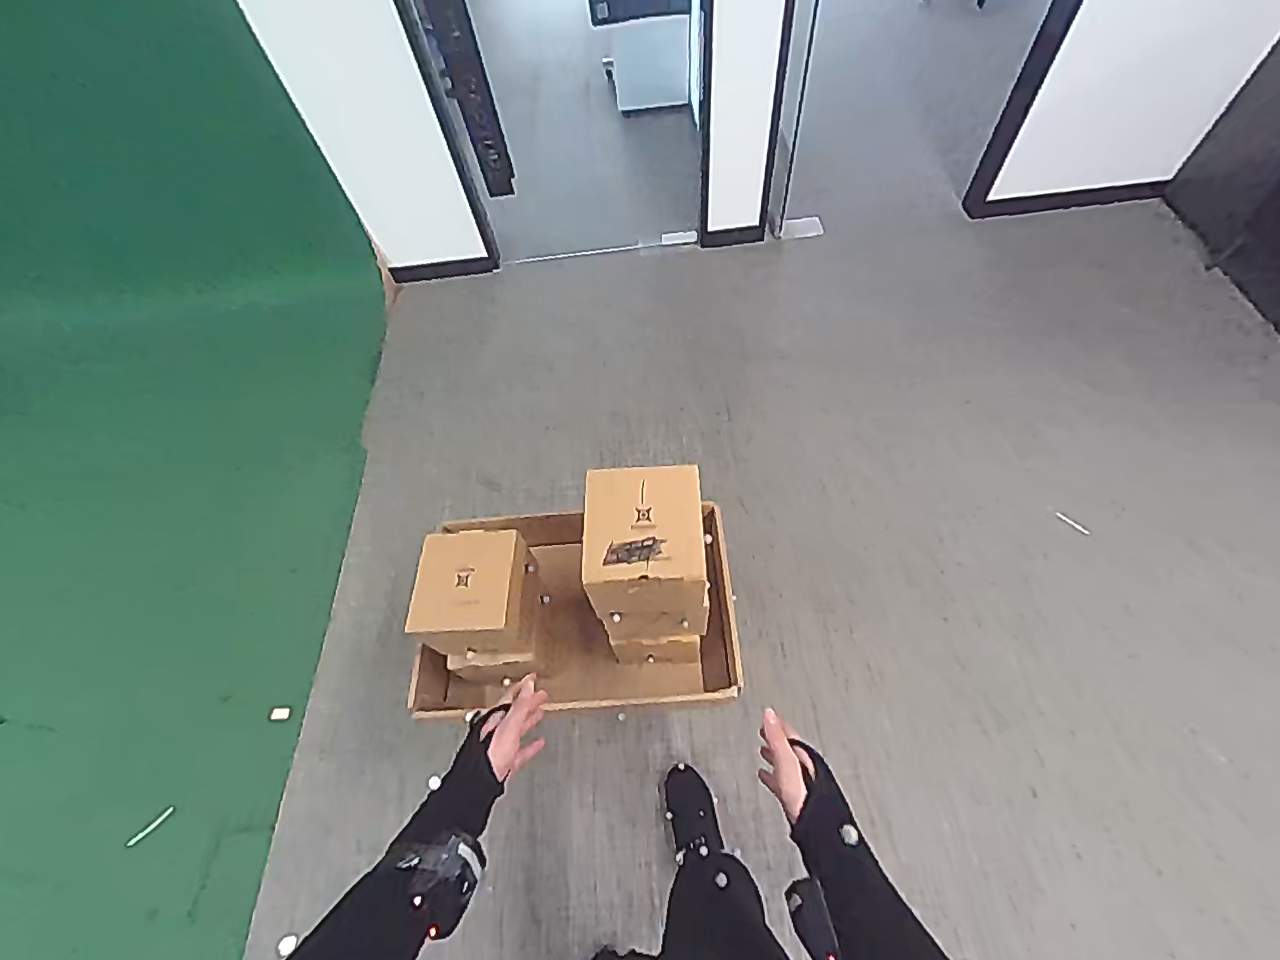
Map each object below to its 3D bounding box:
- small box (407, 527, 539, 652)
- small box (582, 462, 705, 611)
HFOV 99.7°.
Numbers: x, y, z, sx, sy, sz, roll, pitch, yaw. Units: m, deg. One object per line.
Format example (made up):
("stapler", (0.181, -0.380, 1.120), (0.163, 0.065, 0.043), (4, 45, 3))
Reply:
("small box", (-0.284, 0.199, 0.969), (0.168, 0.176, 0.179), (-3, 58, 5))
("small box", (0.011, 0.092, 0.814), (0.168, 0.176, 0.179), (-2, 58, 3))
